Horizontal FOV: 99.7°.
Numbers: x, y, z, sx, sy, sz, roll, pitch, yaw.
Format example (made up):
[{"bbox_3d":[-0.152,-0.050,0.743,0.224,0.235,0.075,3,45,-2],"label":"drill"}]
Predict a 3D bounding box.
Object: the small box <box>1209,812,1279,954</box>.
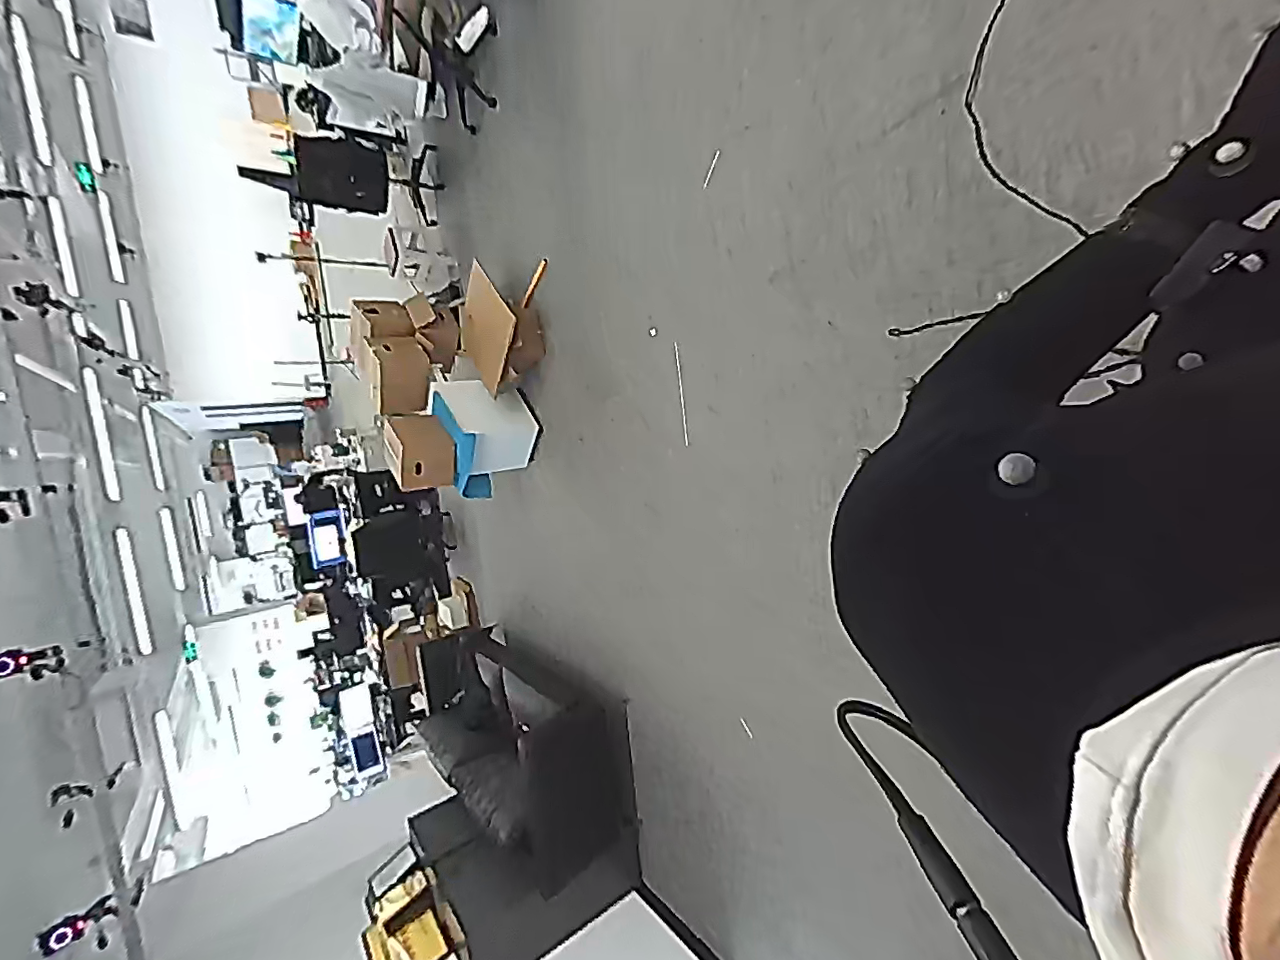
[{"bbox_3d":[1.286,0.814,1.074,0.168,0.176,0.179,22,117,50],"label":"small box"}]
